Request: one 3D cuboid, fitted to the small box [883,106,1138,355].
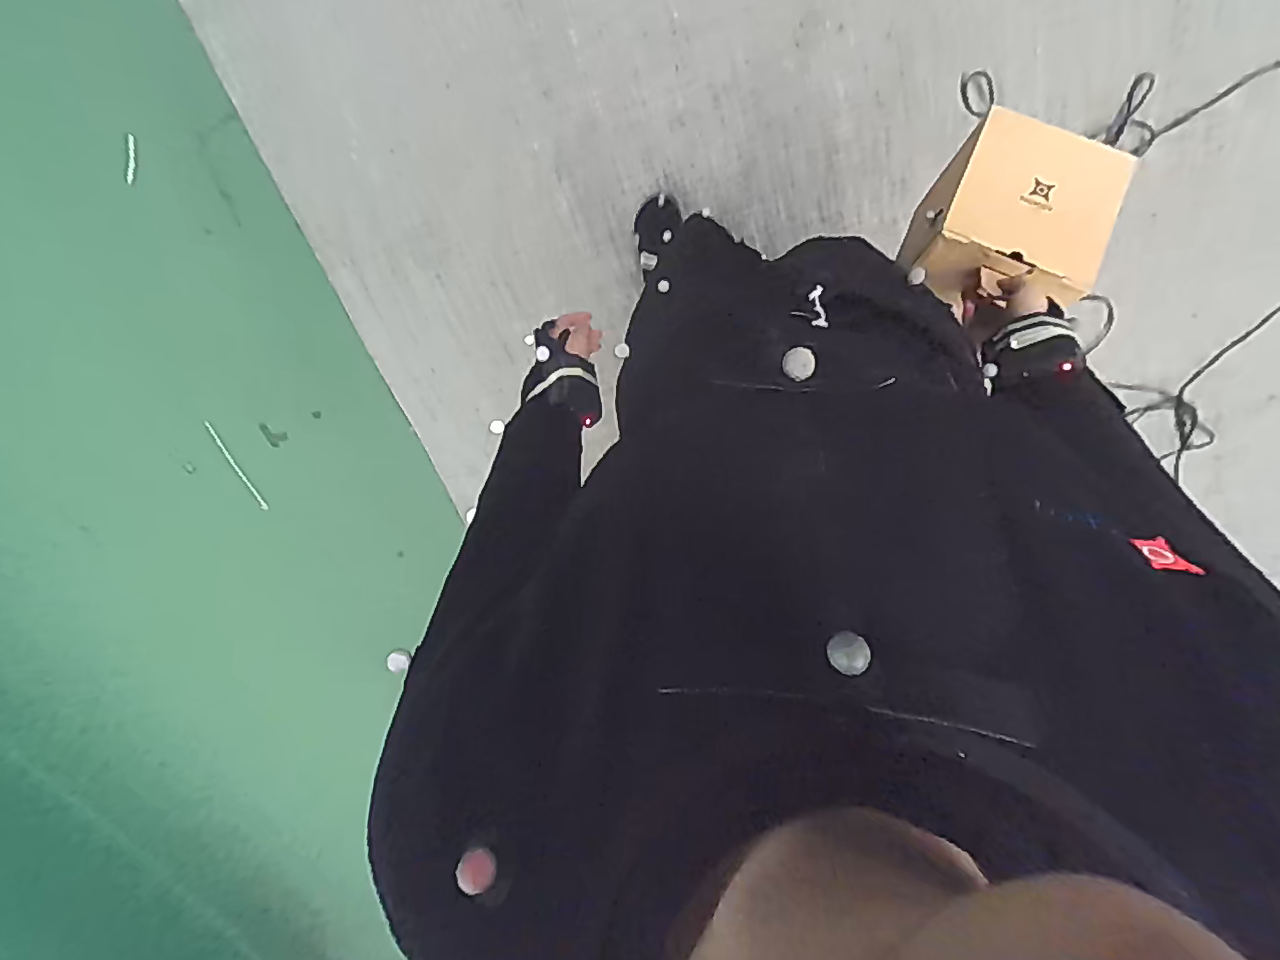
[{"bbox_3d":[0.422,-0.282,0.645,0.168,0.176,0.179,25,80,4],"label":"small box"}]
